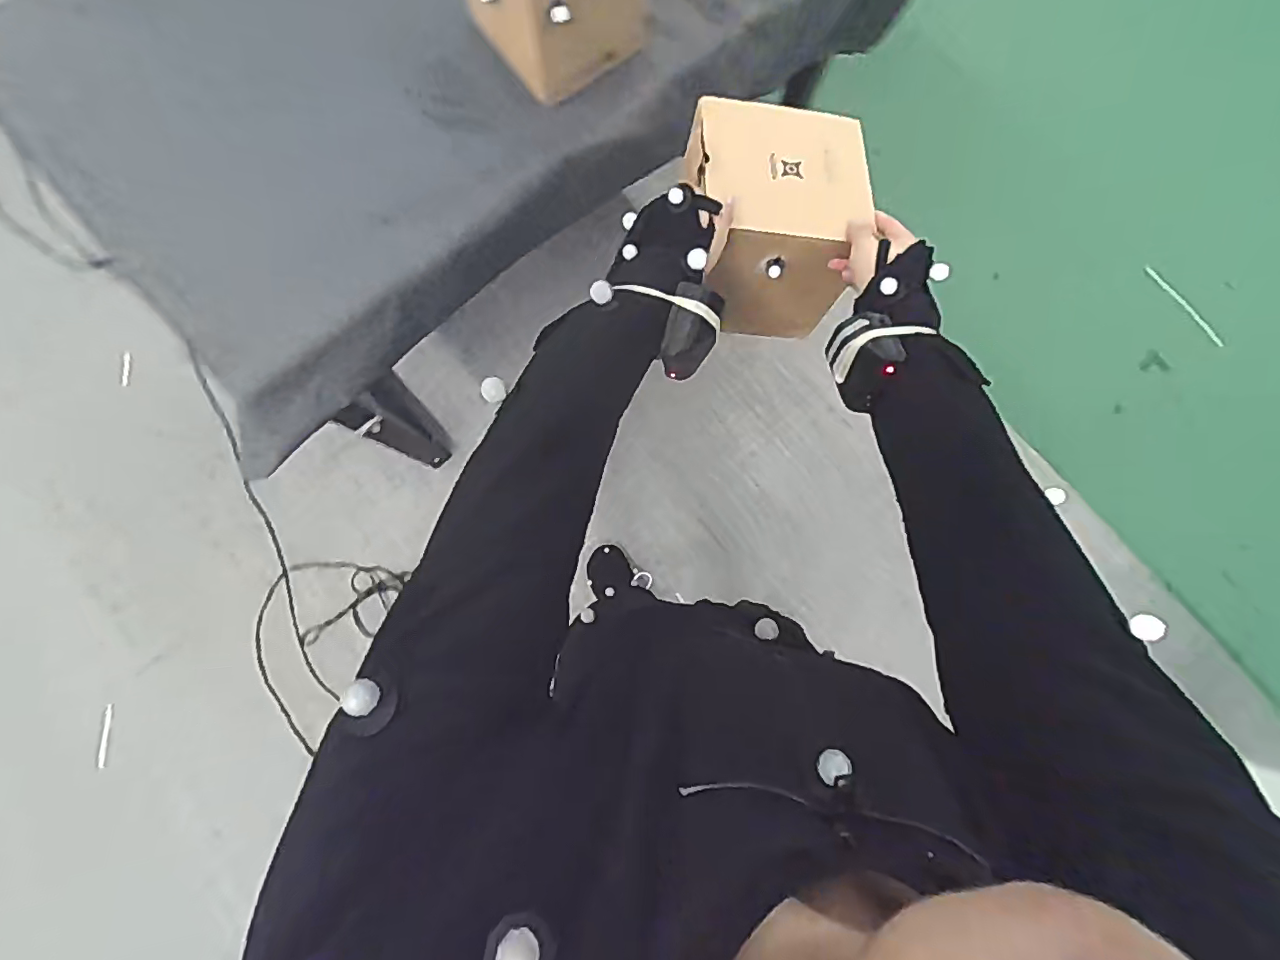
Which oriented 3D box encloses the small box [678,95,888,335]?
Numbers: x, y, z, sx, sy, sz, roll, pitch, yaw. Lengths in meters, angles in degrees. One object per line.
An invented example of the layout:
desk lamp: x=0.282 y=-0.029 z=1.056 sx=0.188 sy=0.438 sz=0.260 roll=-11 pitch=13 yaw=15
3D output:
small box: x=0.141 y=-0.280 z=0.605 sx=0.179 sy=0.176 sz=0.168 roll=3 pitch=73 yaw=-9
